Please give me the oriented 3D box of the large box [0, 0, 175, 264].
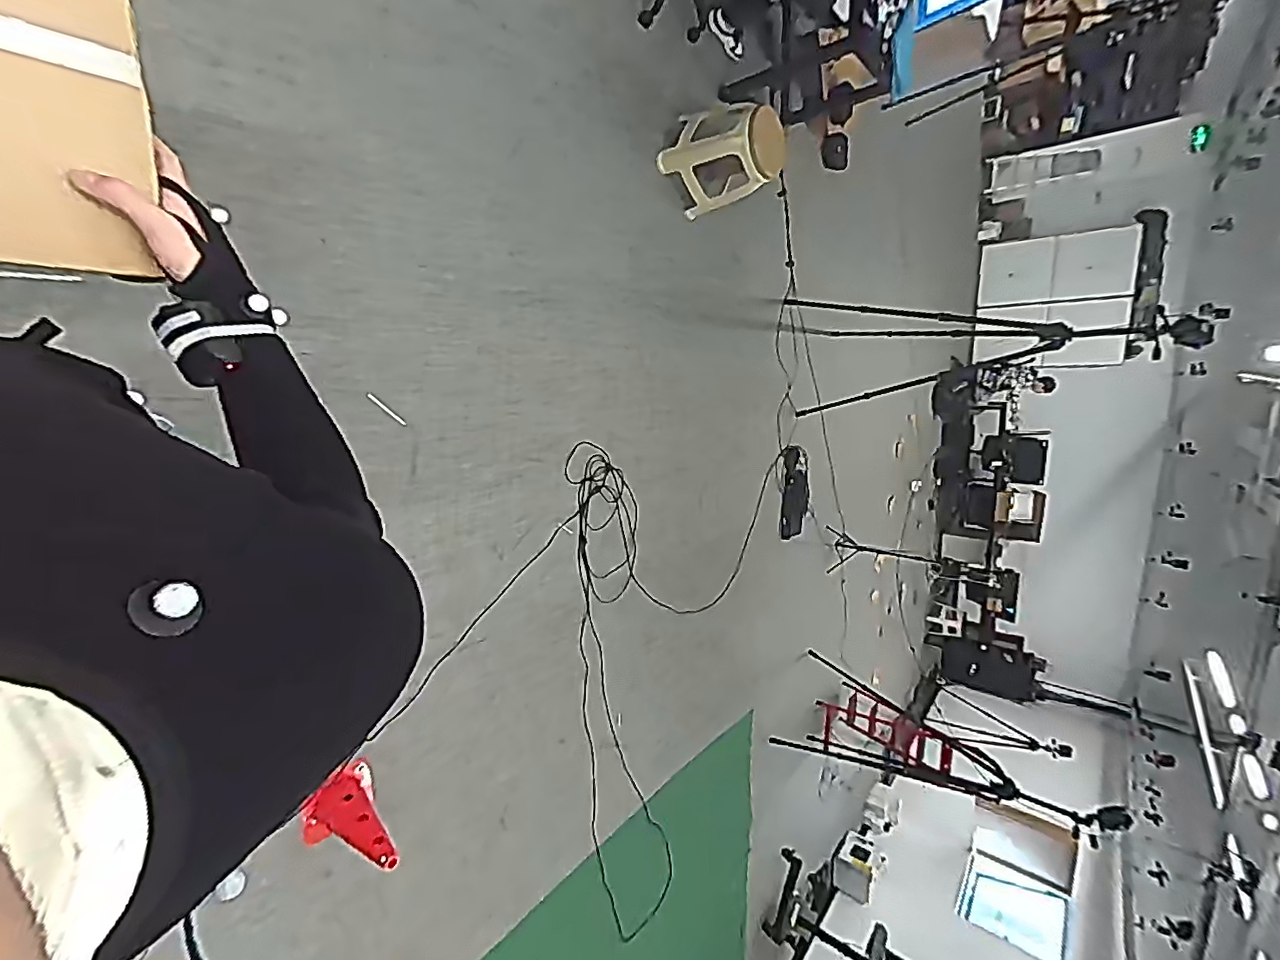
[{"bbox_3d":[-0.648,-0.352,0.385,0.408,0.320,0.320,-15,122,-48],"label":"large box"}]
